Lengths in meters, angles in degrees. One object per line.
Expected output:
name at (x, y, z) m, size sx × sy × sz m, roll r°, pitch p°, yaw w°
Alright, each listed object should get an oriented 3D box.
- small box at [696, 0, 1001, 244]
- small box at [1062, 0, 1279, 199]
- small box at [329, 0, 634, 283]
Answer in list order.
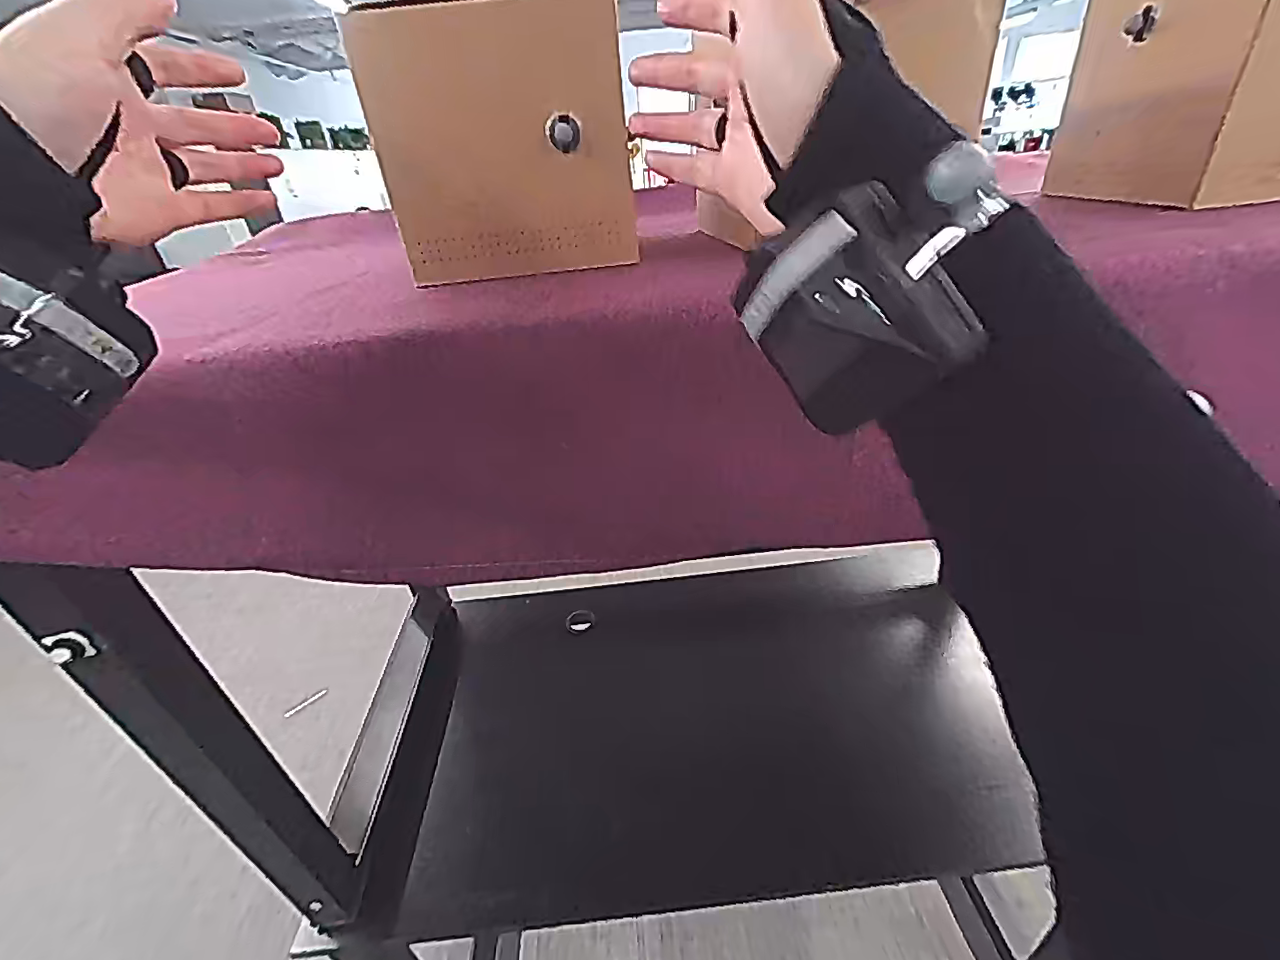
small box at (0.146, -0.288, 0.424) m, size 0.168 × 0.176 × 0.179 m, roll -9°, pitch 31°, yaw -5°
small box at (0.477, -0.318, 0.414) m, size 0.168 × 0.176 × 0.179 m, roll -5°, pitch 31°, yaw 3°
small box at (-0.097, -0.265, 0.430) m, size 0.179 × 0.176 × 0.168 m, roll -7°, pitch 31°, yaw -1°
